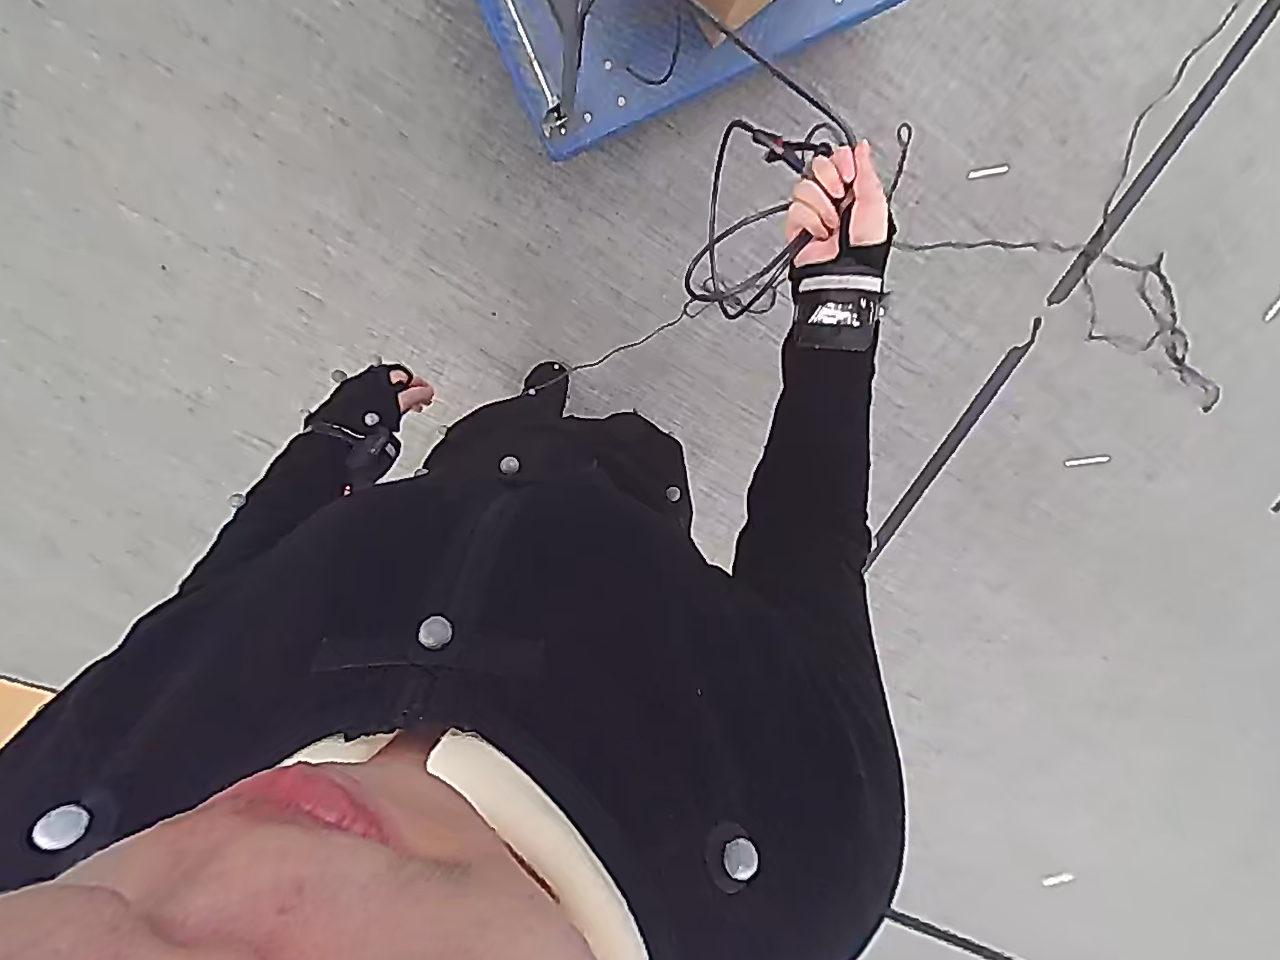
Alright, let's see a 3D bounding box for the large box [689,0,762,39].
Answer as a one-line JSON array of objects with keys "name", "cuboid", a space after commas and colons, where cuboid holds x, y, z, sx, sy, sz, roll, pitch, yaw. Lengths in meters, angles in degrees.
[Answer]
[{"name": "large box", "cuboid": [0.163, -1.102, 0.908, 0.320, 0.320, 0.408, -39, 106, 6]}]
